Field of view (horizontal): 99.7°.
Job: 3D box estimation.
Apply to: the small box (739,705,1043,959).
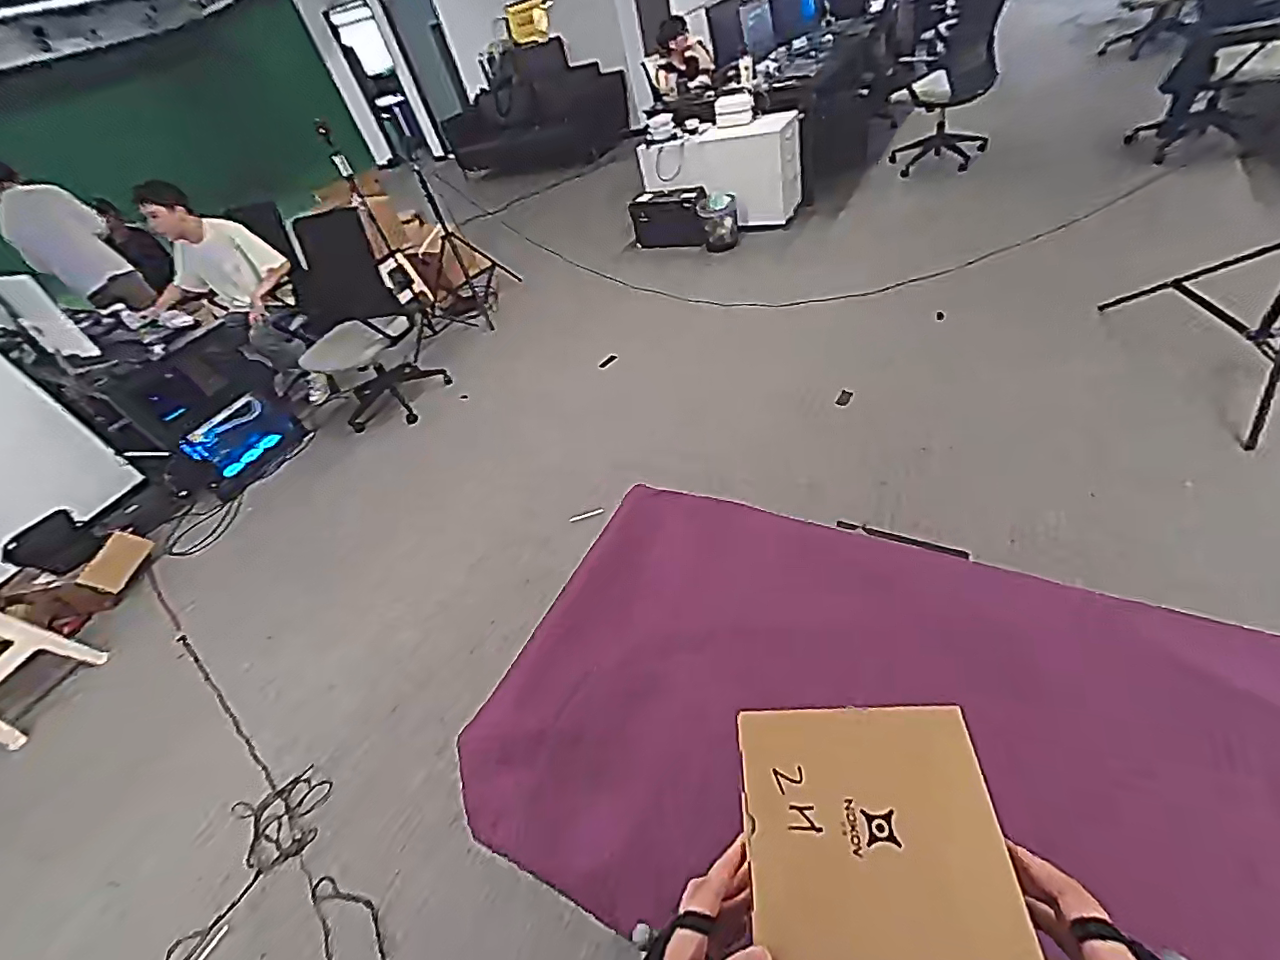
[{"bbox_3d":[0.179,0.297,0.445,0.179,0.176,0.168,-6,47,11],"label":"small box"}]
